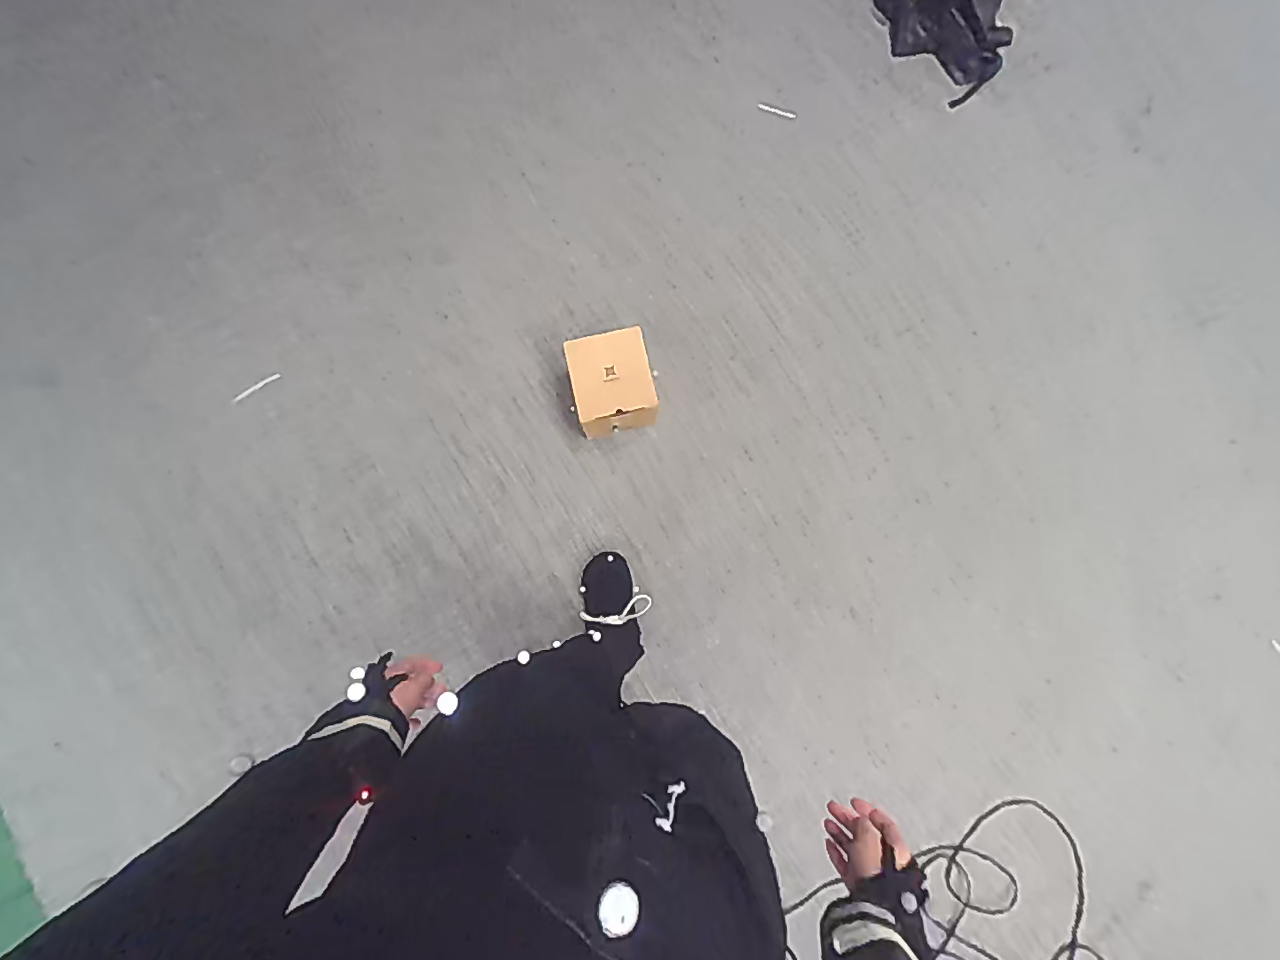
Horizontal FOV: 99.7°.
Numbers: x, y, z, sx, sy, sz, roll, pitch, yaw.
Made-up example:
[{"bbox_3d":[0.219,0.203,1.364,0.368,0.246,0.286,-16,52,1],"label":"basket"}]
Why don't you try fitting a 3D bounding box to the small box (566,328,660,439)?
[{"bbox_3d":[-0.059,-0.203,1.177,0.168,0.176,0.179,-13,84,-3],"label":"small box"}]
